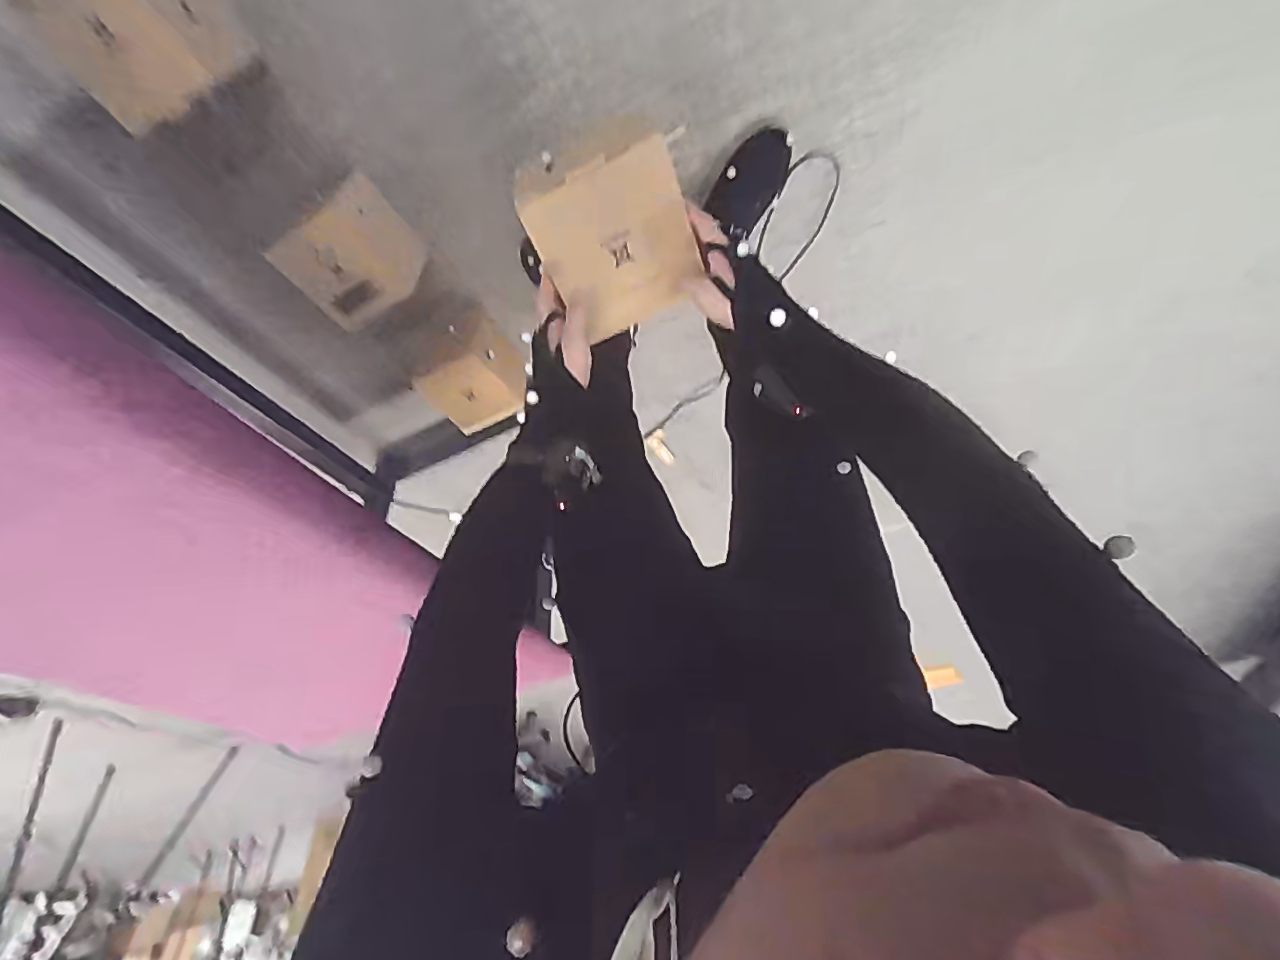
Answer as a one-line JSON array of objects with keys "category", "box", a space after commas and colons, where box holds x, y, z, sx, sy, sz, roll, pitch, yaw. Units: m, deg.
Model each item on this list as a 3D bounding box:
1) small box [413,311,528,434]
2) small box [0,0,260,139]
[{"category": "small box", "box": [-0.367, -0.241, 1.210, 0.168, 0.176, 0.179, -21, 136, 17]}, {"category": "small box", "box": [-0.679, -0.622, 0.745, 0.168, 0.176, 0.179, -19, 137, 15]}]
